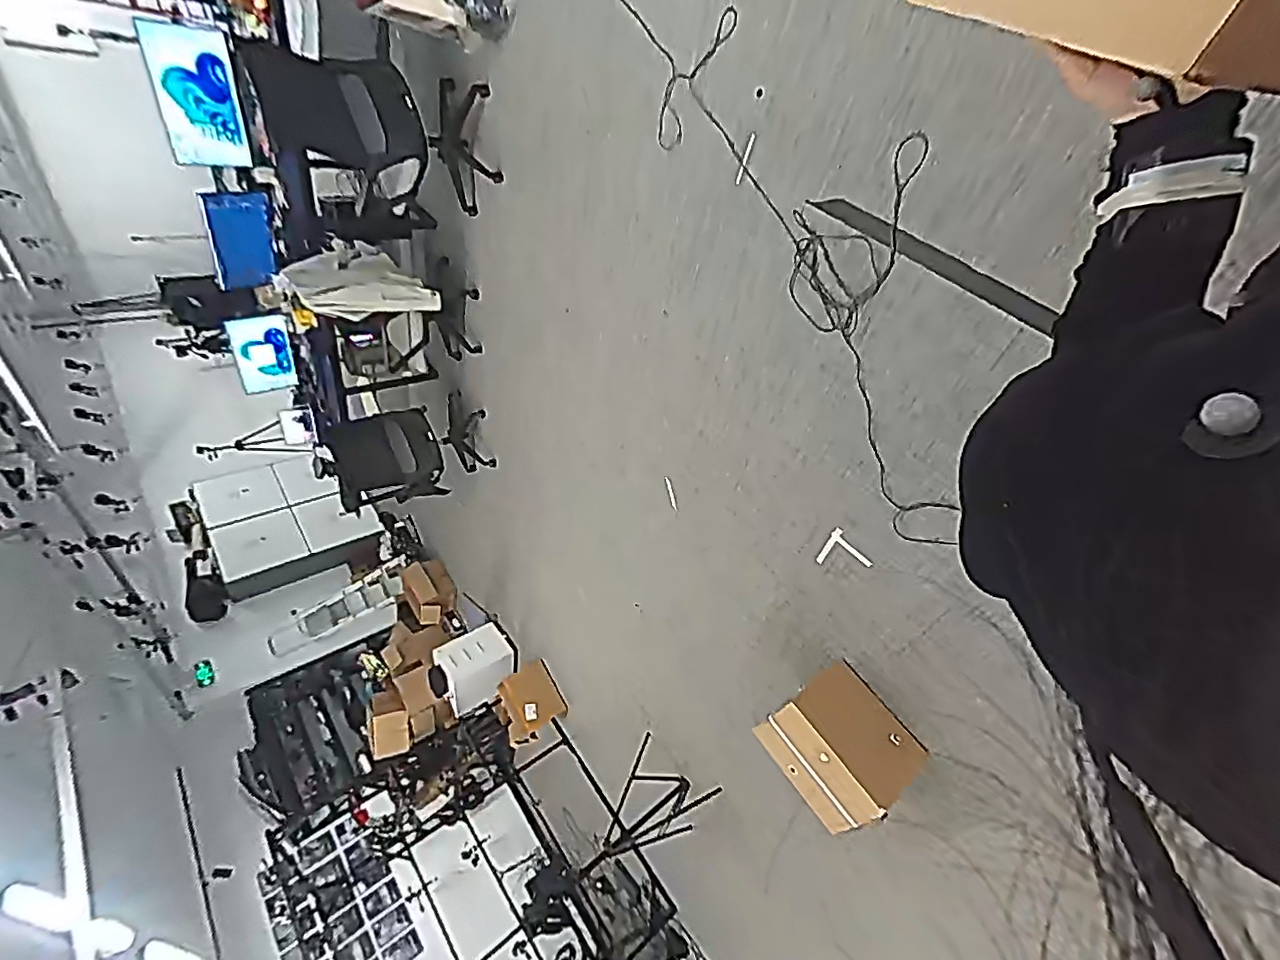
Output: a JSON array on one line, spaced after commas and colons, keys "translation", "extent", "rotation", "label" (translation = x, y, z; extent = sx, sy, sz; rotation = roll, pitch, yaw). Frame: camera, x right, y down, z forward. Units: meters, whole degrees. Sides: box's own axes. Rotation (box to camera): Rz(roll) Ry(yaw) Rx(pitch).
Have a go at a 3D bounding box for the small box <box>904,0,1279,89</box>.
[{"translation": [0.288, -0.316, 0.271], "extent": [0.179, 0.176, 0.168], "rotation": [55, 149, 34], "label": "small box"}]
